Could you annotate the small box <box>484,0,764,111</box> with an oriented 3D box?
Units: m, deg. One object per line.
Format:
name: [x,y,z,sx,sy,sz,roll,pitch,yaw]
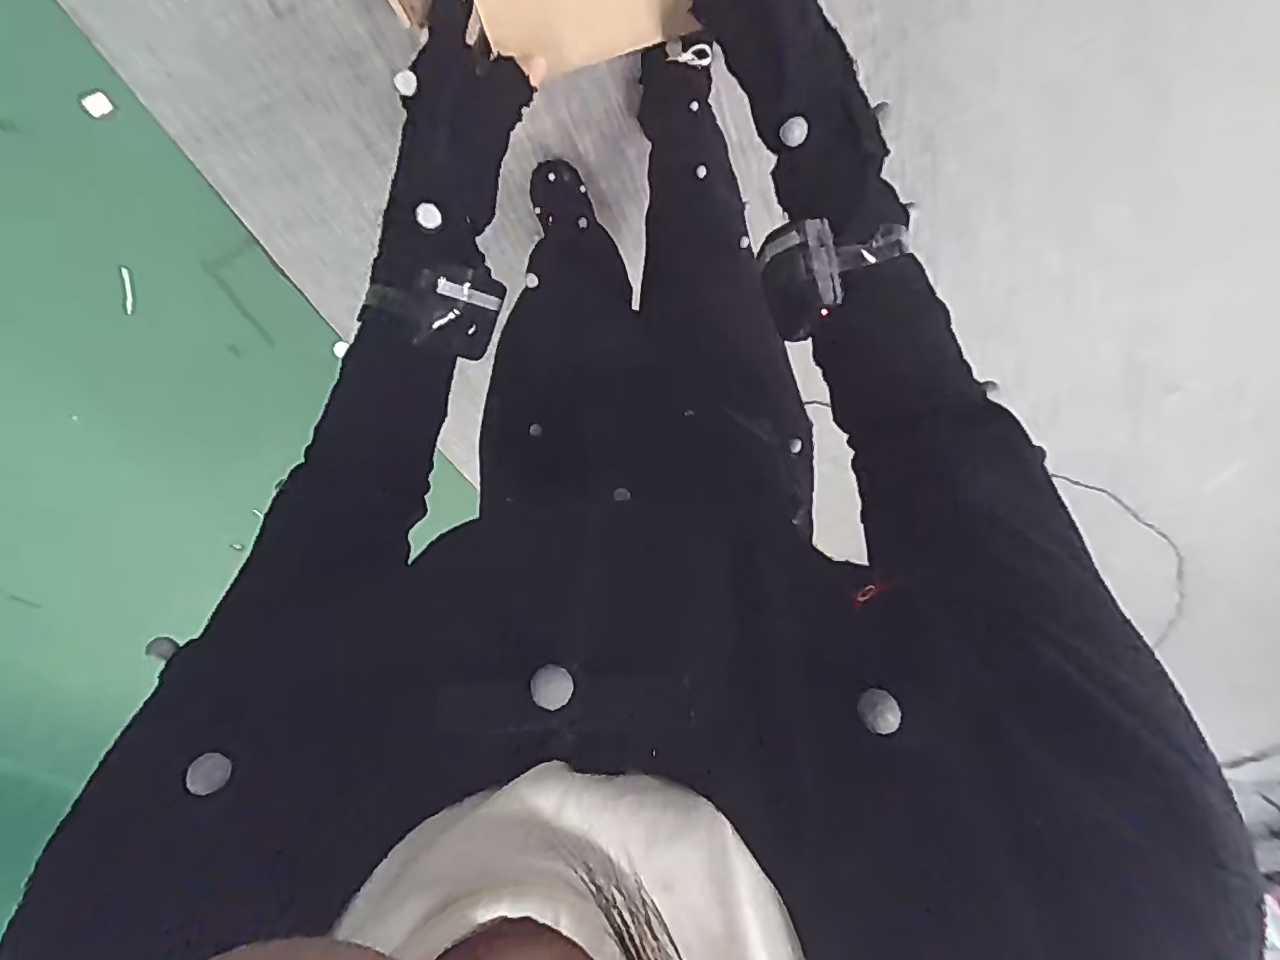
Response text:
small box: [-0.034,-0.393,0.378,0.179,0.176,0.168,-20,130,7]
